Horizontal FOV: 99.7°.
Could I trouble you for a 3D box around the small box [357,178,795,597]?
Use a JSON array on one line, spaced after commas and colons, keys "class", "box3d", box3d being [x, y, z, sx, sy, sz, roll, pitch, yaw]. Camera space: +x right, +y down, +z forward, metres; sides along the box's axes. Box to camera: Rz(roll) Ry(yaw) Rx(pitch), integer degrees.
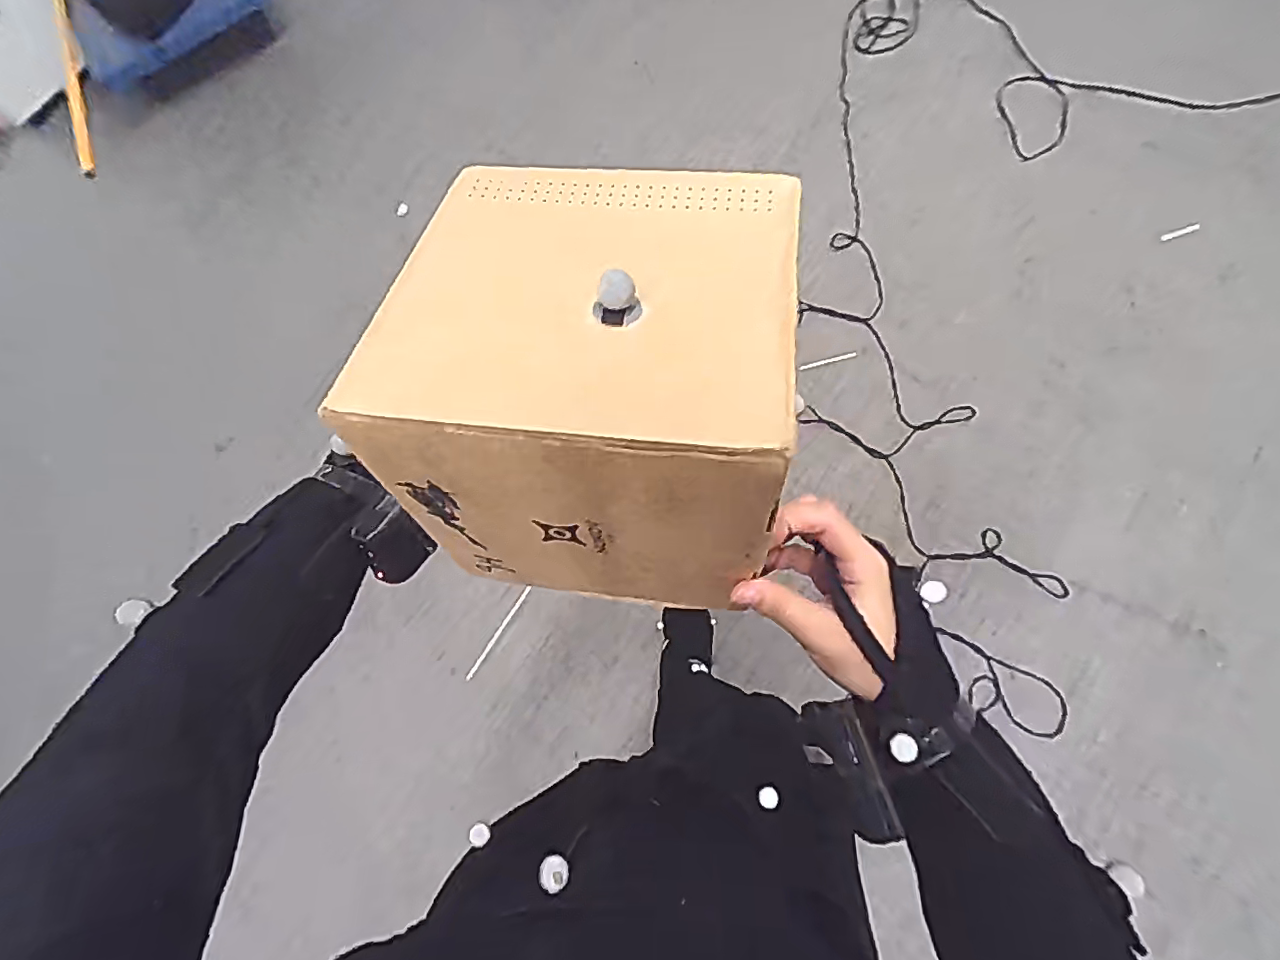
[{"class": "small box", "box3d": [-0.012, -0.048, 0.311, 0.179, 0.168, 0.176, 6, 59, 8]}]
